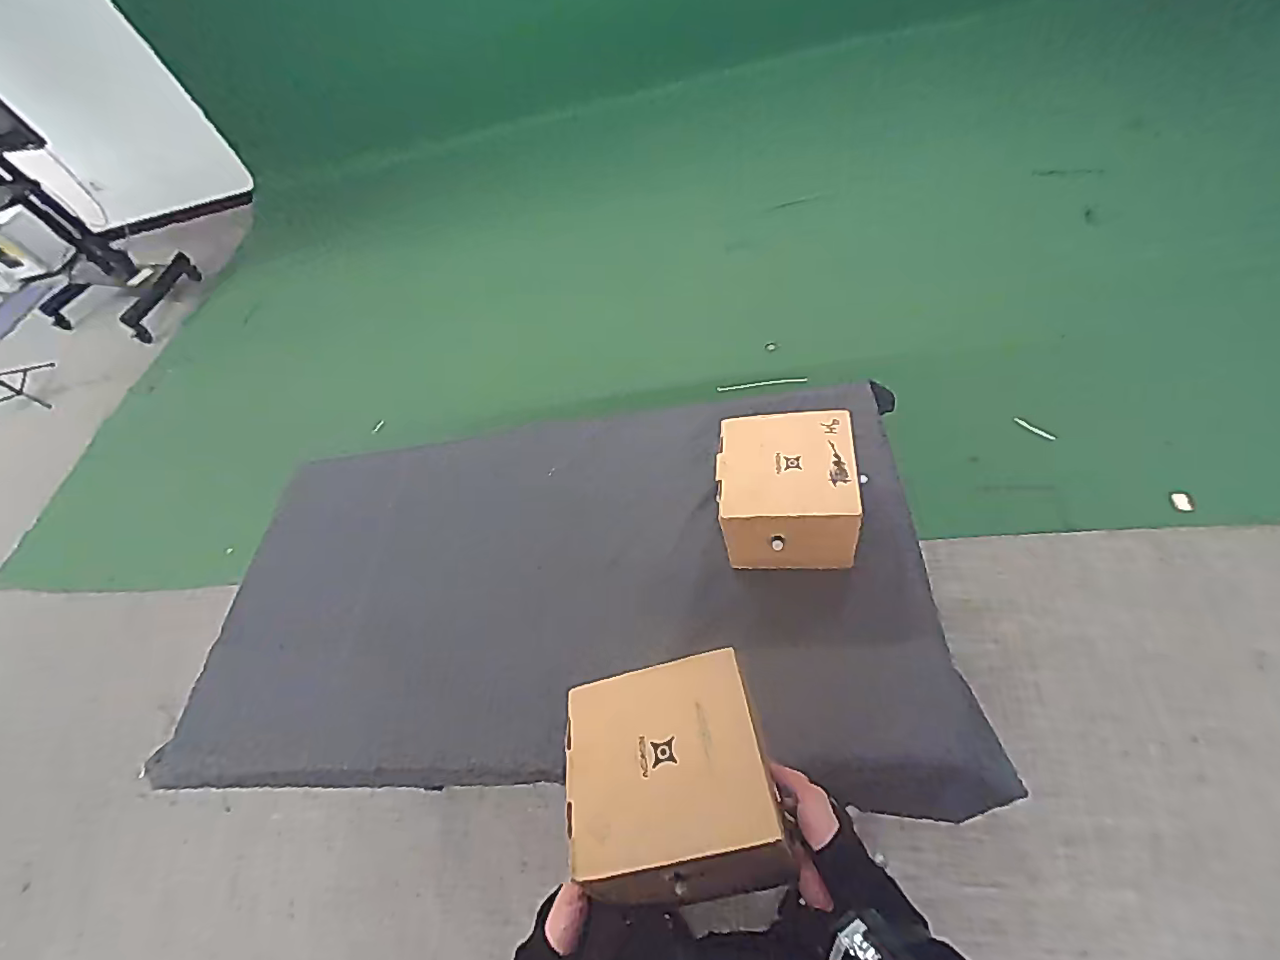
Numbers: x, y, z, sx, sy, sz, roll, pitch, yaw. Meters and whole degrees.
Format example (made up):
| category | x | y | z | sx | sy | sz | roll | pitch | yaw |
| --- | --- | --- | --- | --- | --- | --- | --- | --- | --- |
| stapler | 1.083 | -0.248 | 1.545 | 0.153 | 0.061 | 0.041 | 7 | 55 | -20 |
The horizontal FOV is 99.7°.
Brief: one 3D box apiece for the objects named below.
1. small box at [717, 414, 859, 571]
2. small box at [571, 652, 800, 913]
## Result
| category | x | y | z | sx | sy | sz | roll | pitch | yaw |
| --- | --- | --- | --- | --- | --- | --- | --- | --- | --- |
| small box | 0.213 | 0.026 | 0.782 | 0.179 | 0.176 | 0.168 | -3 | 58 | 16 |
| small box | 0.043 | 0.301 | 0.532 | 0.179 | 0.176 | 0.168 | -16 | 42 | 6 |
